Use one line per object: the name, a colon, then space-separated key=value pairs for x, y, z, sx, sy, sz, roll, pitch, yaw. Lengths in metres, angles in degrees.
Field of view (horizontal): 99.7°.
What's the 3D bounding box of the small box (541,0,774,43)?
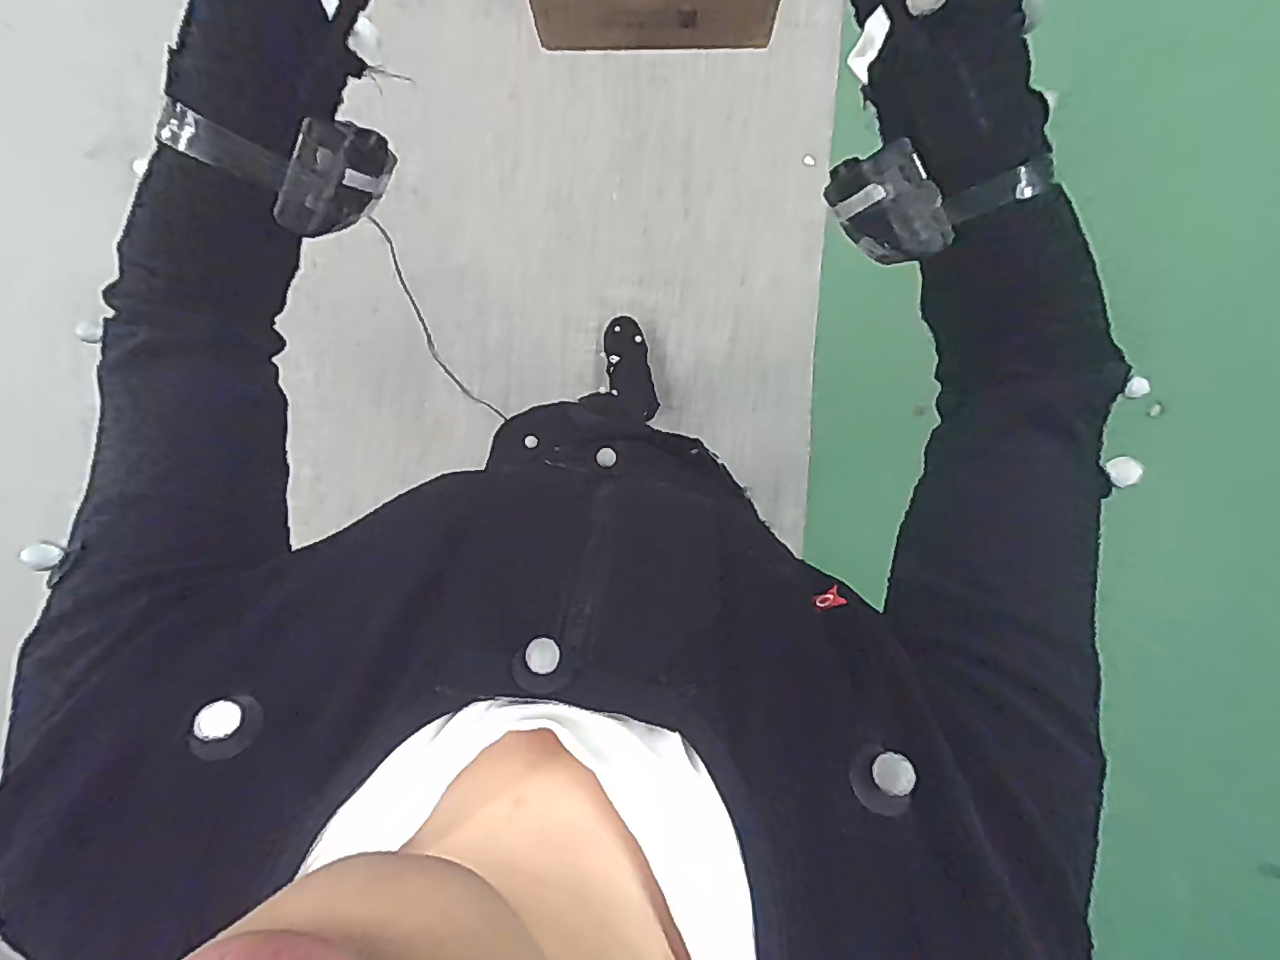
small box: x=0.011 y=-0.404 z=0.319 sx=0.168 sy=0.176 sz=0.179 roll=2 pitch=86 yaw=2
